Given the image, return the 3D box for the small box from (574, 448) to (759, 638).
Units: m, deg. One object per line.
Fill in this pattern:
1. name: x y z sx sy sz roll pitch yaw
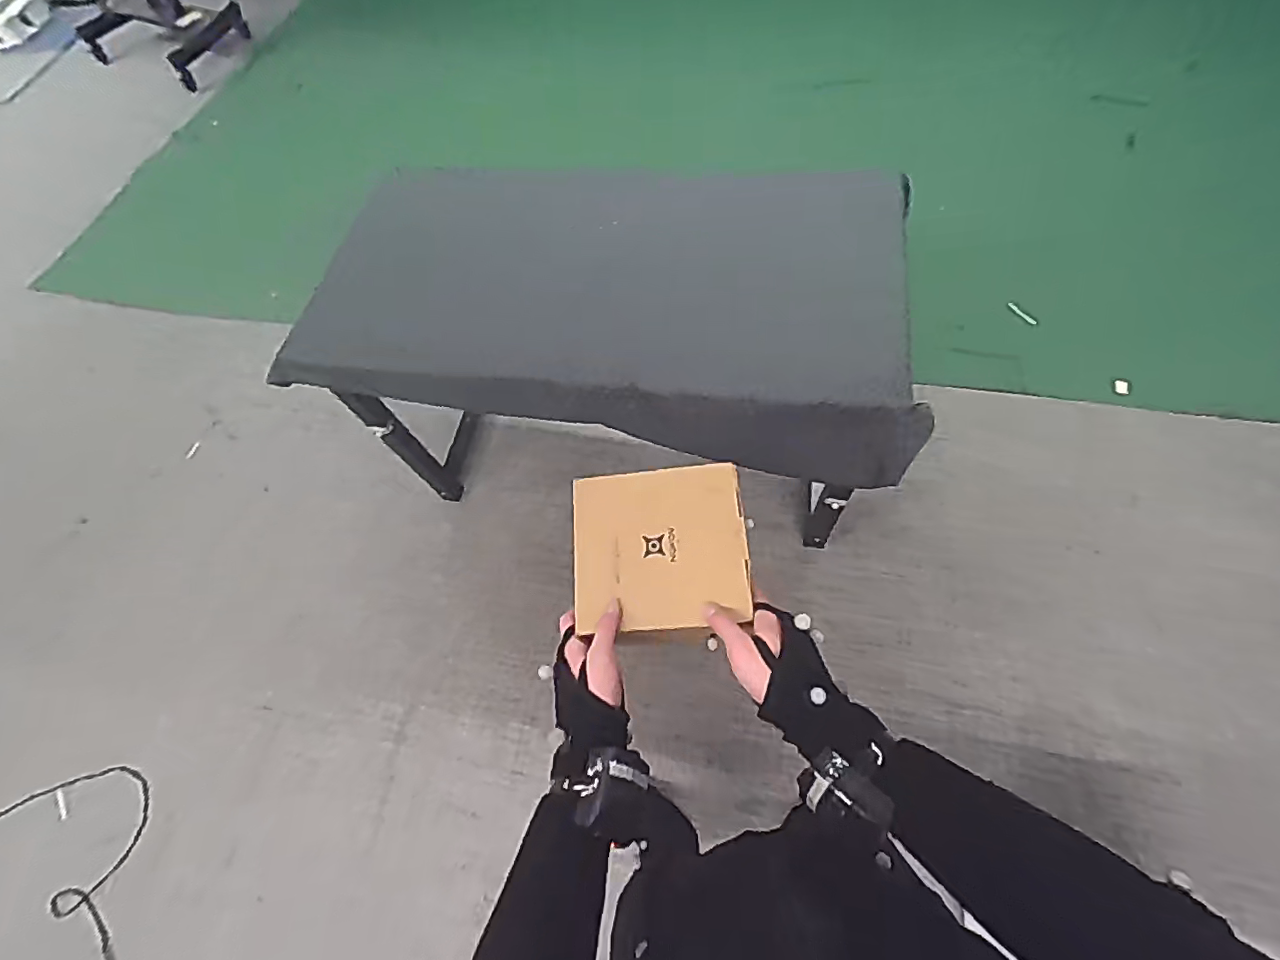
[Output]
1. small box: 0.031 0.080 0.605 0.179 0.176 0.168 -7 67 7
